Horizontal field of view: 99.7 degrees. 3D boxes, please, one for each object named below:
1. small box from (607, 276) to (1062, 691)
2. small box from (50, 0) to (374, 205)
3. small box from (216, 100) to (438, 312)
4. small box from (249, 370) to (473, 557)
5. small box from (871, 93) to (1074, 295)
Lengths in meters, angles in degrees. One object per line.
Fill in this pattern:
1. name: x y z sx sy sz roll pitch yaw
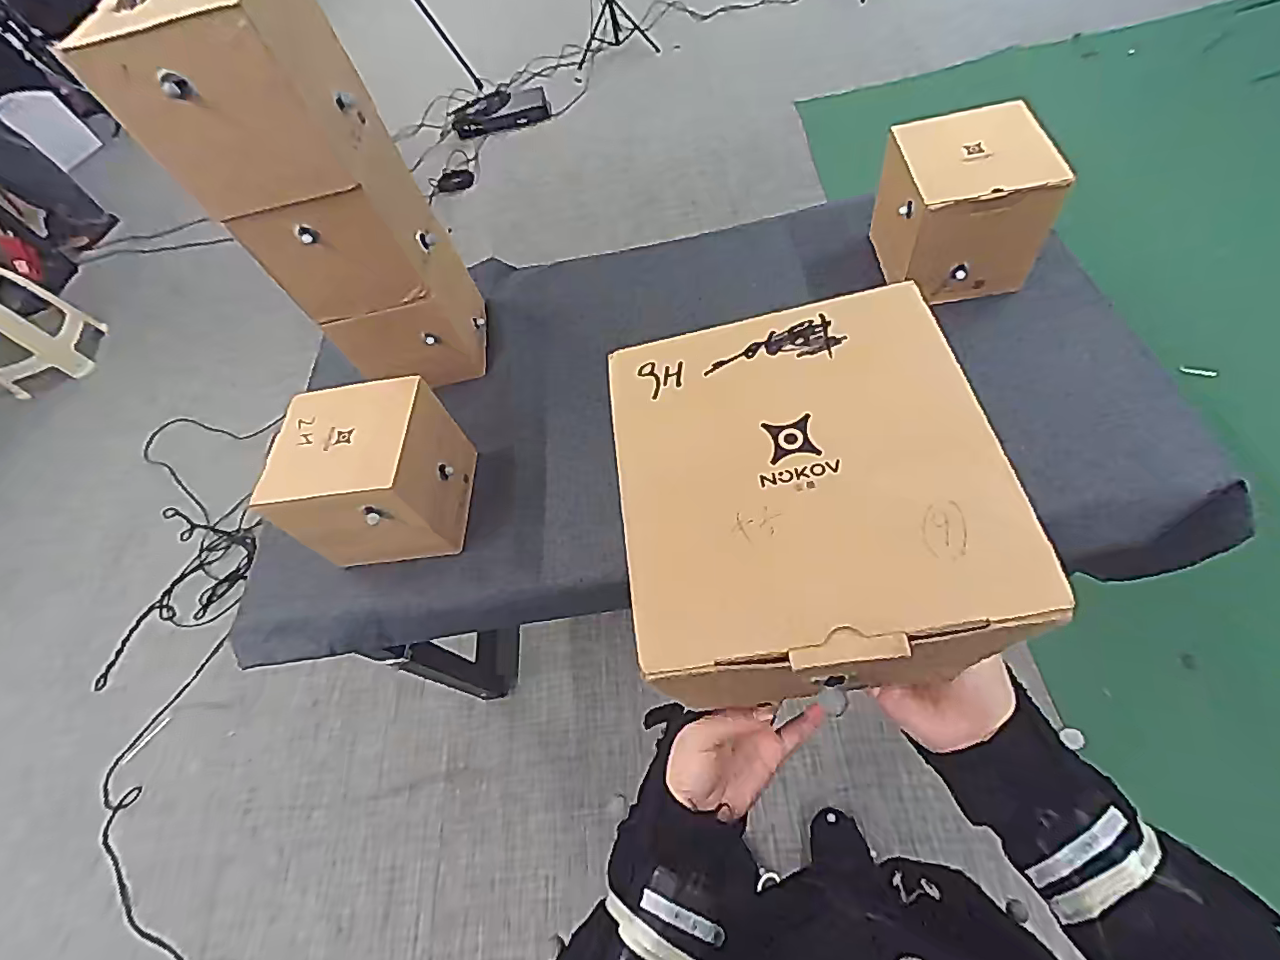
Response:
1. small box: 0.087 0.022 0.317 0.168 0.176 0.179 -12 63 8
2. small box: -0.413 -0.417 0.559 0.179 0.176 0.168 -10 62 5
3. small box: -0.389 -0.346 0.706 0.179 0.176 0.168 -12 62 4
4. small box: -0.334 -0.014 0.691 0.179 0.176 0.168 -7 57 8
5. small box: 0.431 -0.381 0.741 0.168 0.176 0.179 -7 61 8
